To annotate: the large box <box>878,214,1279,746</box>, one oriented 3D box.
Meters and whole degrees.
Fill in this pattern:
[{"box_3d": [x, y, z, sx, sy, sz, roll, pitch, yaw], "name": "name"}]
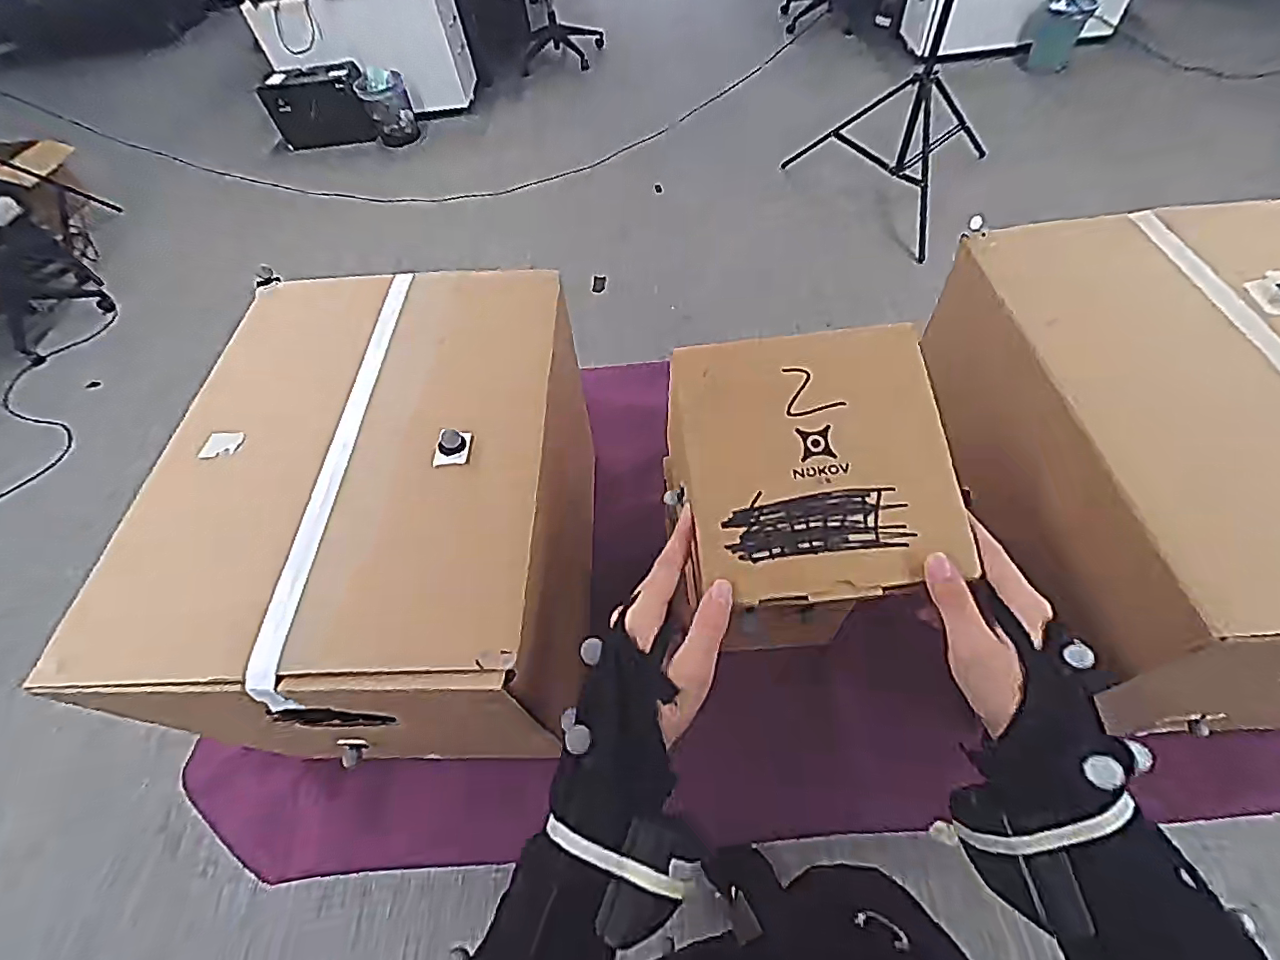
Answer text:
[{"box_3d": [0.476, 0.007, 0.528, 0.320, 0.320, 0.408, -4, 54, 3], "name": "large box"}]
